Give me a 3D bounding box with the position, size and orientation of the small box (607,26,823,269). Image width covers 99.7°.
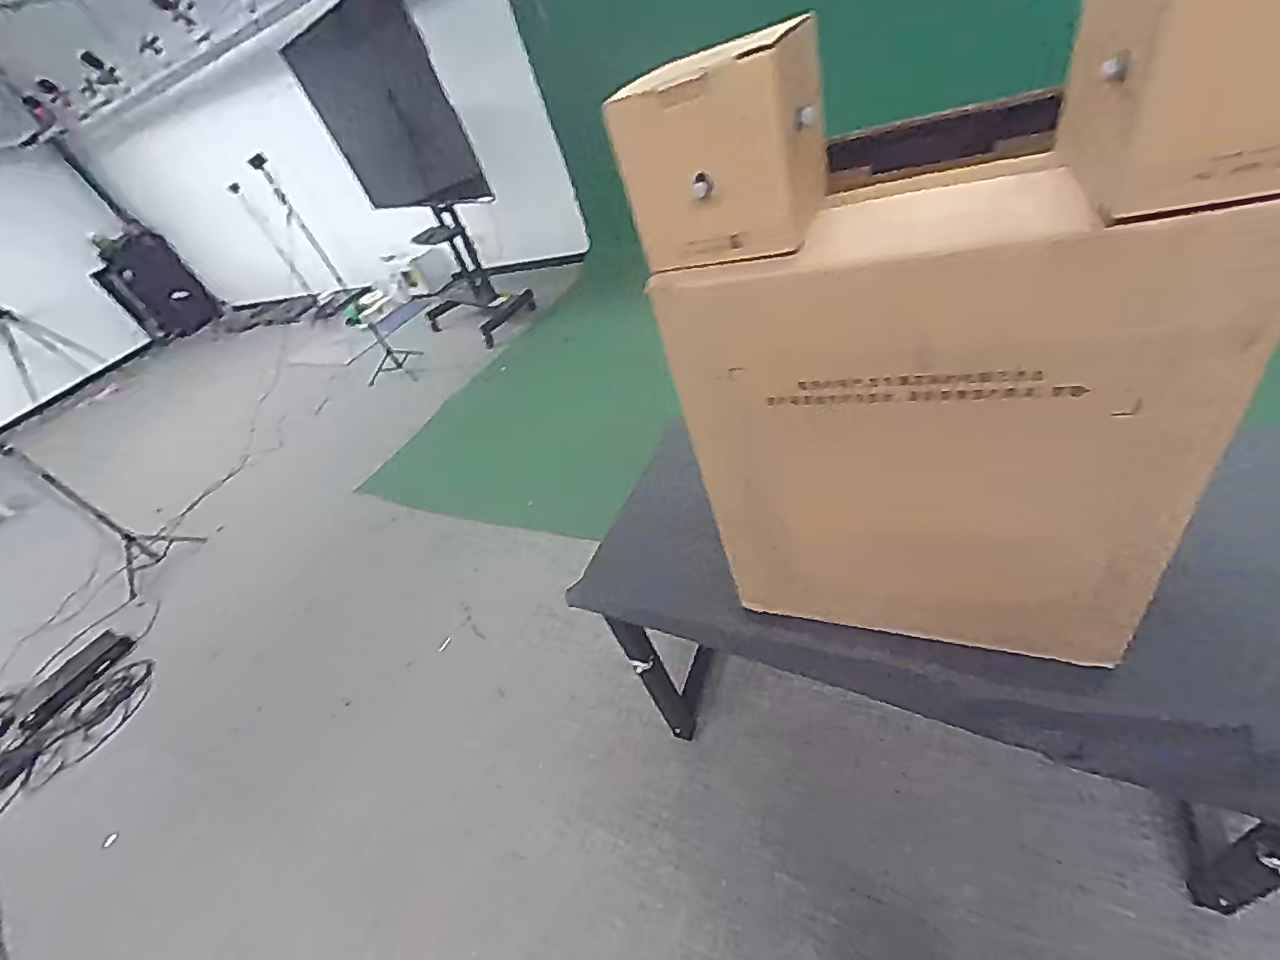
[{"bbox_3d":[0.094,-0.340,0.579,0.168,0.176,0.179,4,46,29],"label":"small box"}]
